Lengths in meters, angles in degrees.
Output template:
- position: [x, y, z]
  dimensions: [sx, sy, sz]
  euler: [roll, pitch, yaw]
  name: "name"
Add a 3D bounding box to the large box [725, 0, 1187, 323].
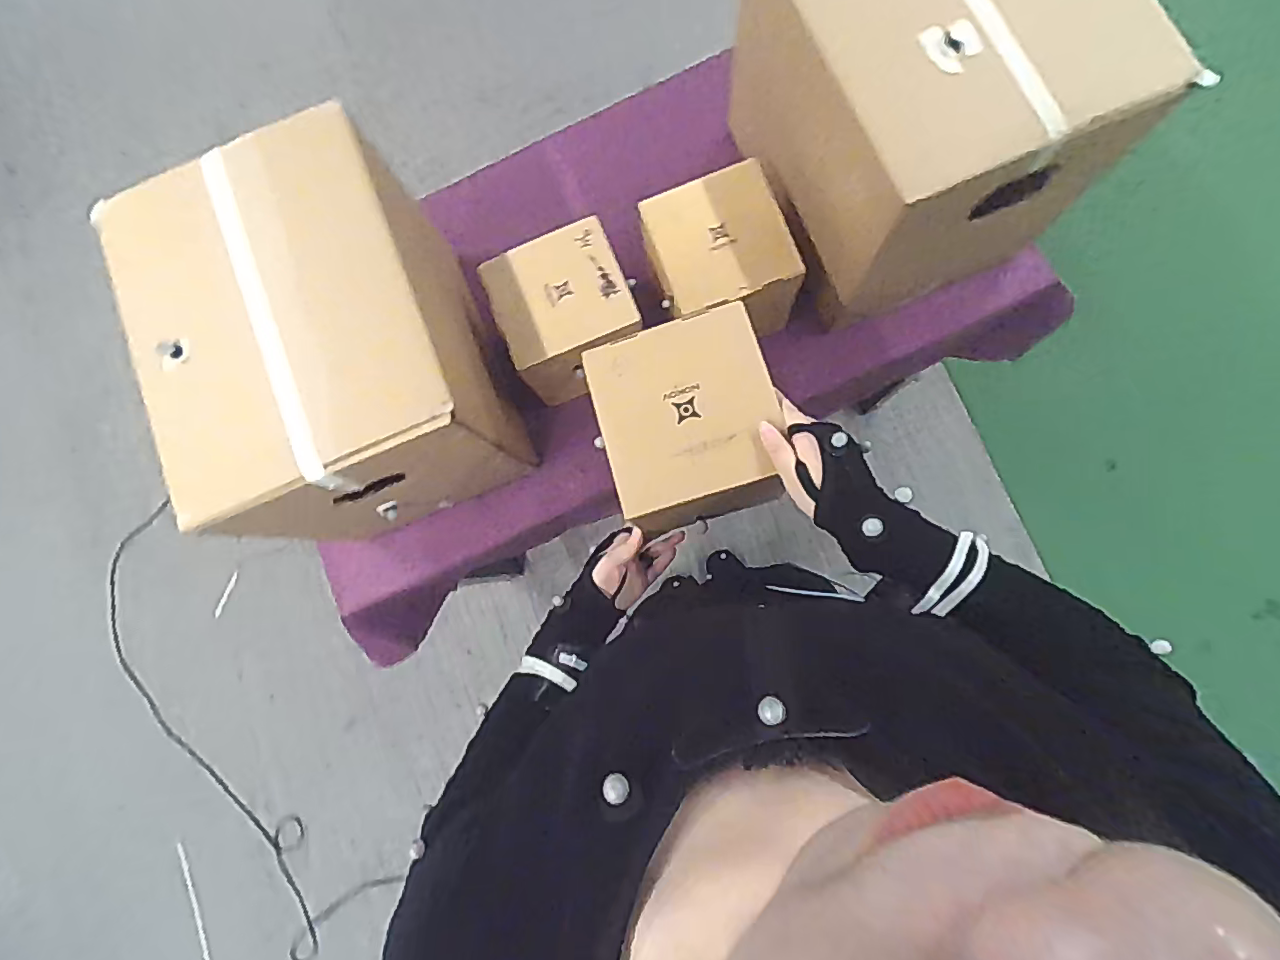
- position: [0.342, -0.495, 0.718]
  dimensions: [0.320, 0.320, 0.408]
  euler: [-22, 81, 1]
  name: "large box"
